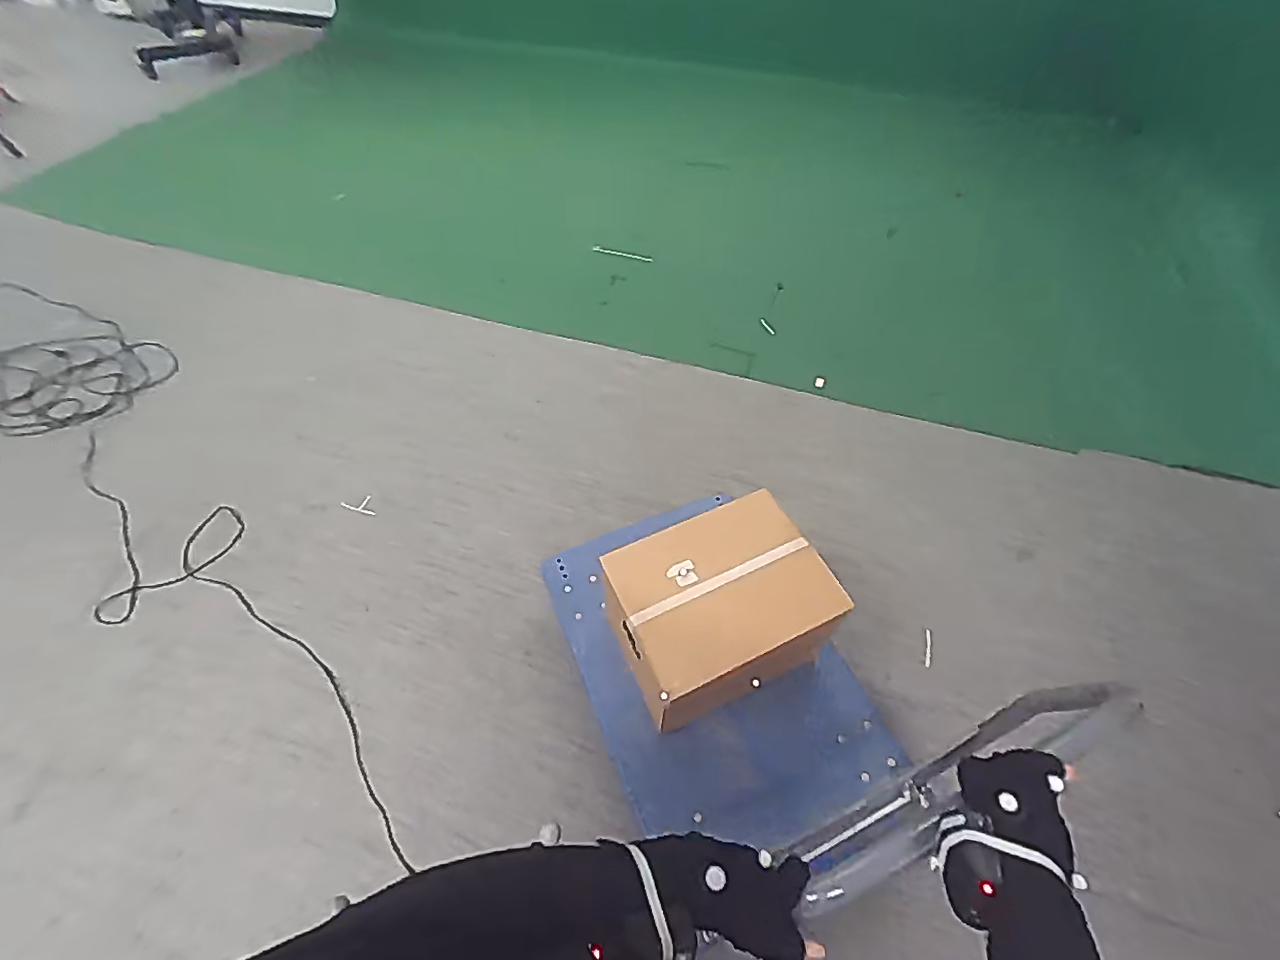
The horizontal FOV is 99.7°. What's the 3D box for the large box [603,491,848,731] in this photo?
[{"bbox_3d":[0.166,0.291,1.196,0.408,0.320,0.320,-22,57,-14],"label":"large box"}]
